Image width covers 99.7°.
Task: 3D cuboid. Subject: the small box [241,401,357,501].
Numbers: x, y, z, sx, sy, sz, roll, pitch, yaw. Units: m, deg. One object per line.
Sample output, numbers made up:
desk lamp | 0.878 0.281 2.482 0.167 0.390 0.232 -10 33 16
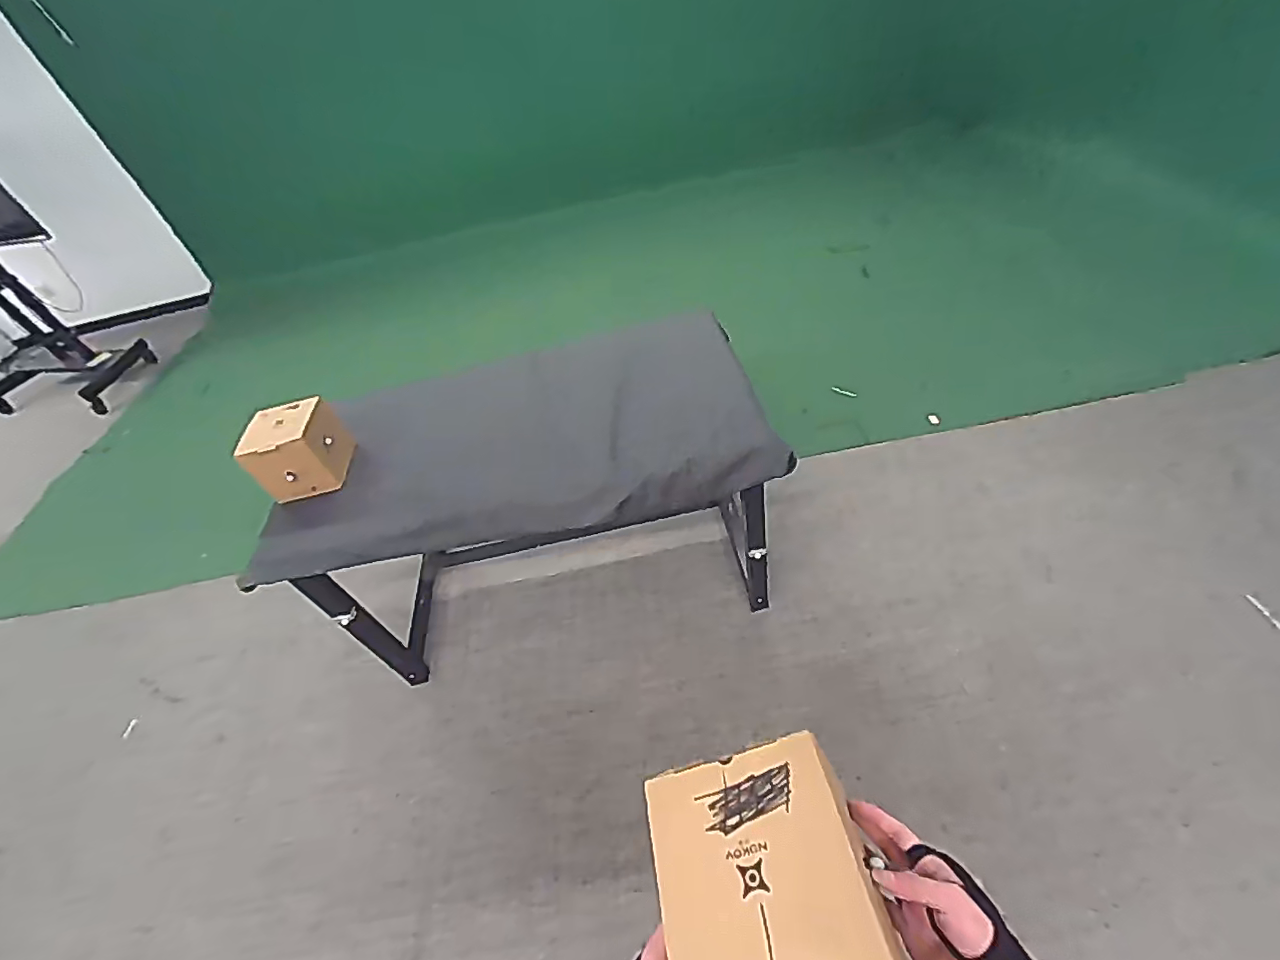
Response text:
small box | -0.840 -0.064 1.355 0.168 0.176 0.179 -14 46 0
